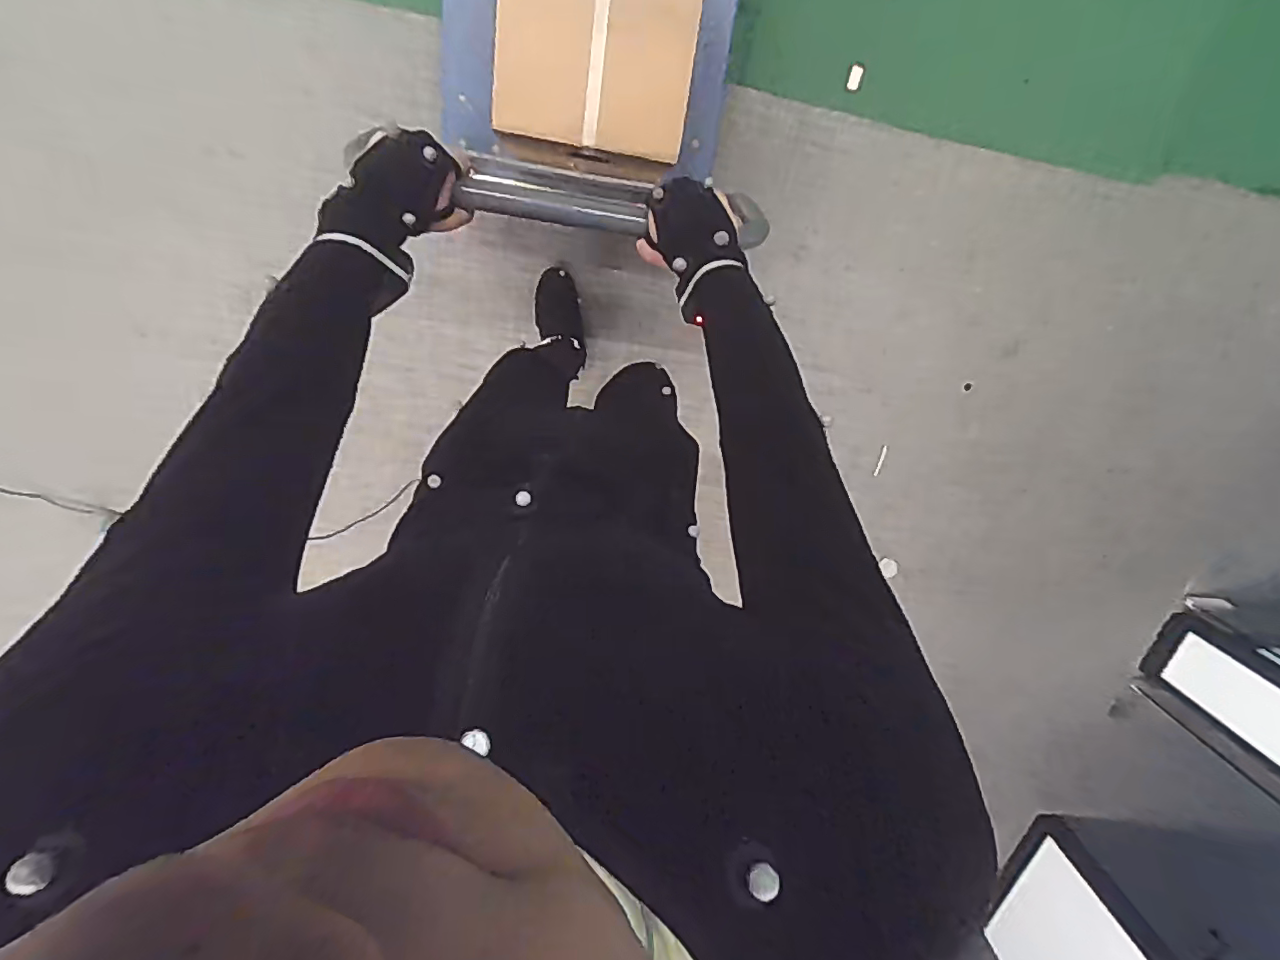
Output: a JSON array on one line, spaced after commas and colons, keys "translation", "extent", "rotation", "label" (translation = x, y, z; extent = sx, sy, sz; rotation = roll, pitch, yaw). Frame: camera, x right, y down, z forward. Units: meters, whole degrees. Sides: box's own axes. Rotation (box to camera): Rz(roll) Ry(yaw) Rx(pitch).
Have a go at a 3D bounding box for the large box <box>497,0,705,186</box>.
[{"translation": [-0.068, -0.789, 0.969], "extent": [0.320, 0.320, 0.408], "rotation": [6, 111, -9], "label": "large box"}]
